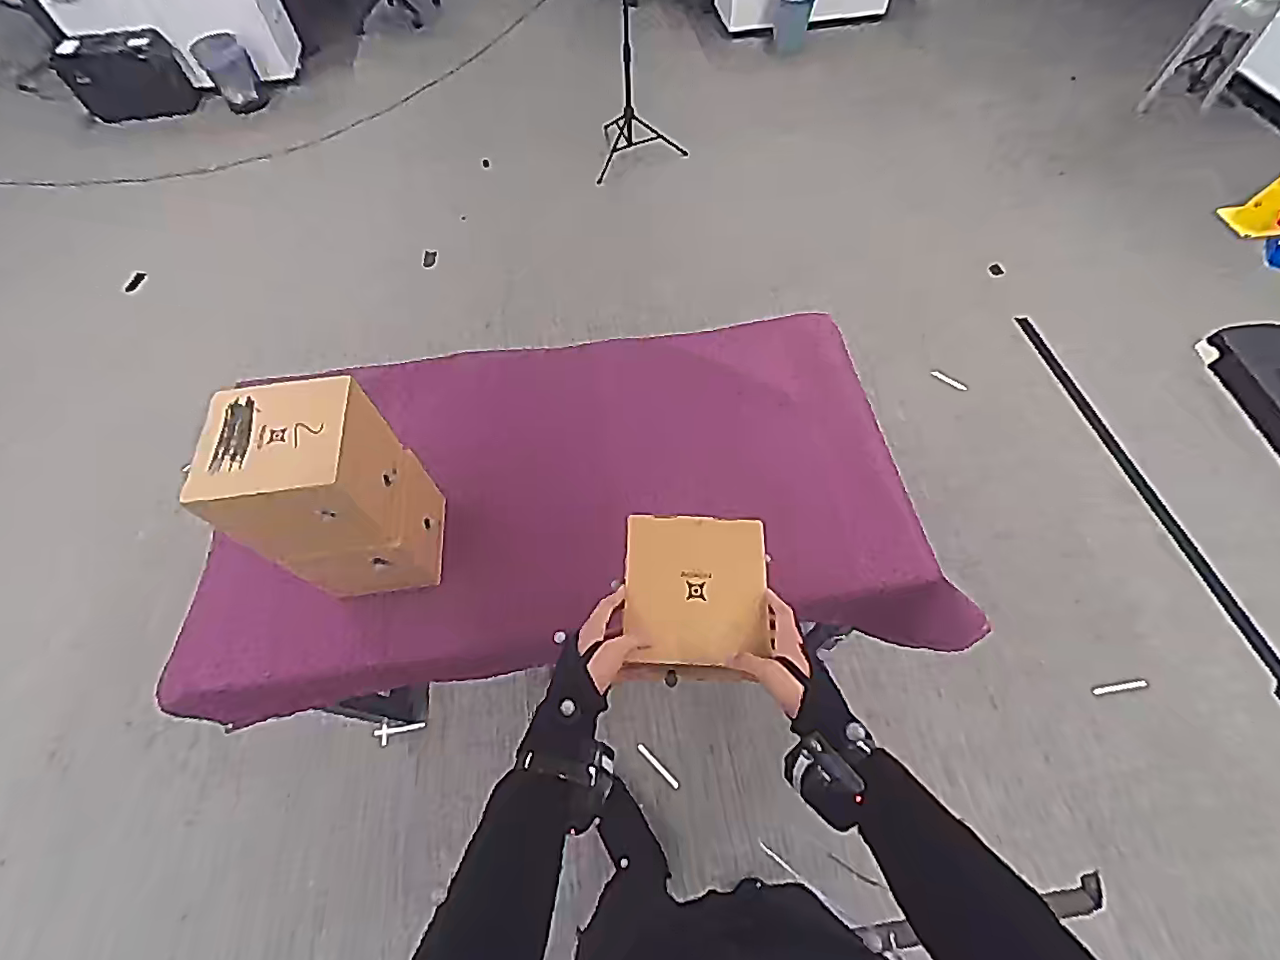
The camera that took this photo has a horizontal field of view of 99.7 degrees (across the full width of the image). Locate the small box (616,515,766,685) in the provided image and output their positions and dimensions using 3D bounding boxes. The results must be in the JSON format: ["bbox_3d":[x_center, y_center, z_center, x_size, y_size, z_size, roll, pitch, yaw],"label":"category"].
[{"bbox_3d":[0.058,0.159,0.689,0.168,0.176,0.179,2,62,0],"label":"small box"}]

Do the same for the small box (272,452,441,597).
[{"bbox_3d":[-0.428,0.076,0.855,0.179,0.176,0.168,-7,60,-2],"label":"small box"}]
